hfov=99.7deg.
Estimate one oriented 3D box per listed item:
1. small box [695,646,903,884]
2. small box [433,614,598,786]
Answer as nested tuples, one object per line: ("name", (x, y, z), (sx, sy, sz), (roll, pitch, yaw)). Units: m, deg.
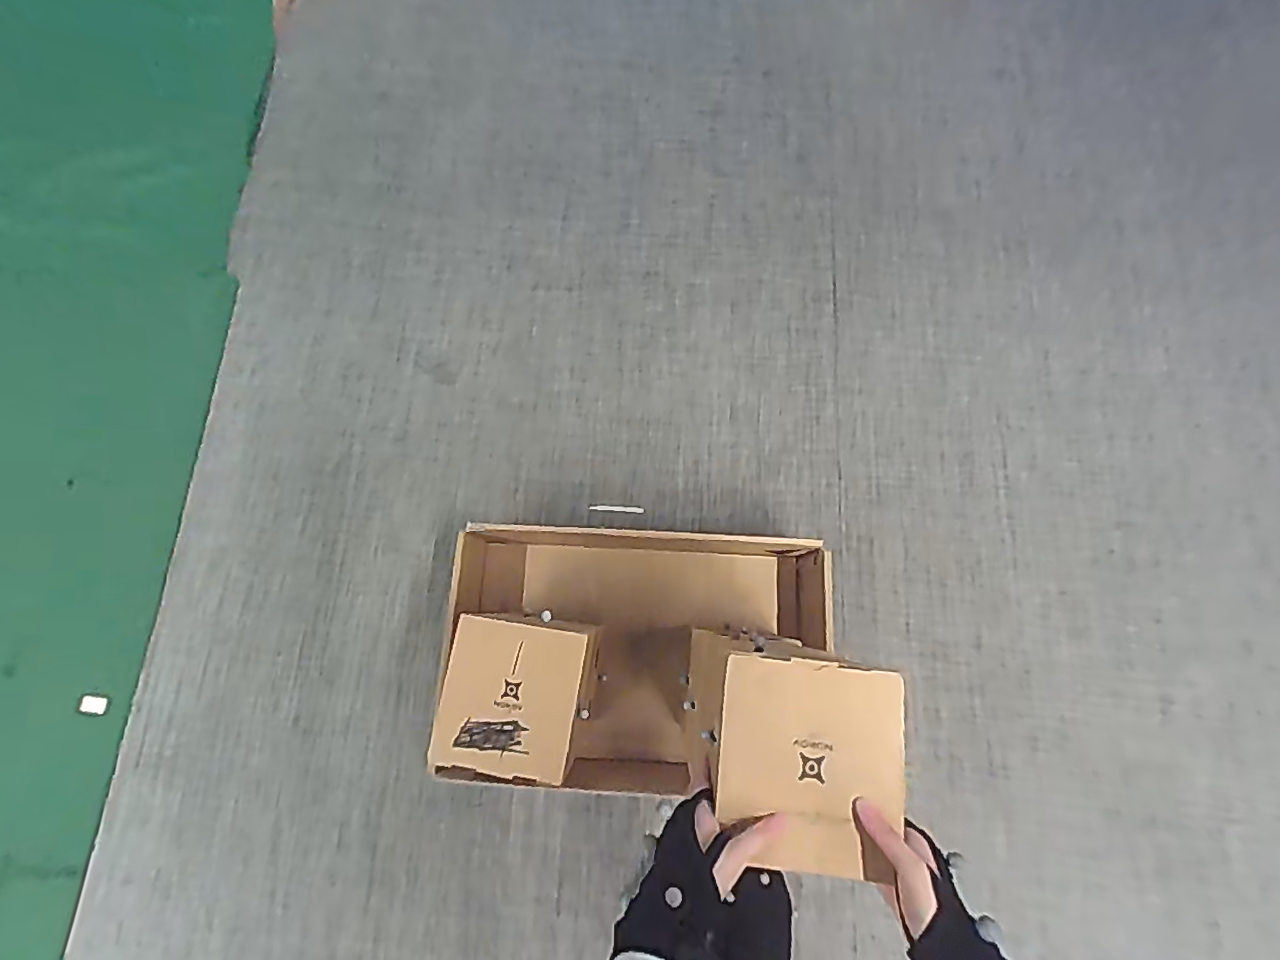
("small box", (0.152, 0.272, 0.562), (0.168, 0.176, 0.179), (7, 76, 2))
("small box", (-0.154, 0.284, 0.735), (0.168, 0.176, 0.179), (9, 76, 2))
